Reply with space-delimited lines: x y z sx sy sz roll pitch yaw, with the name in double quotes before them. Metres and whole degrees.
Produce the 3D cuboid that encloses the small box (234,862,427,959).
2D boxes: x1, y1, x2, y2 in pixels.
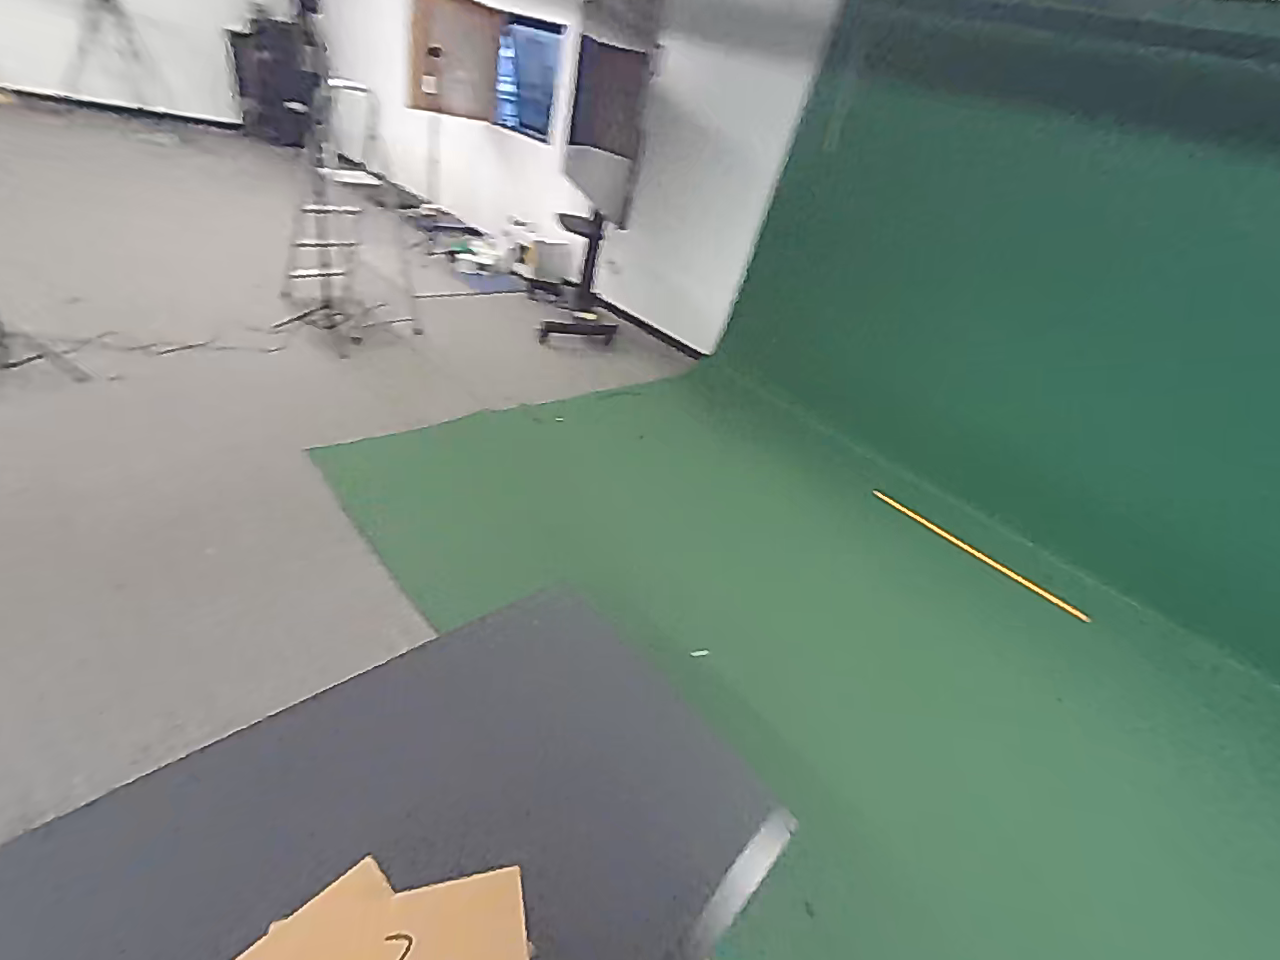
"small box" -0.274 0.499 0.469 0.179 0.176 0.168 35 37 27
